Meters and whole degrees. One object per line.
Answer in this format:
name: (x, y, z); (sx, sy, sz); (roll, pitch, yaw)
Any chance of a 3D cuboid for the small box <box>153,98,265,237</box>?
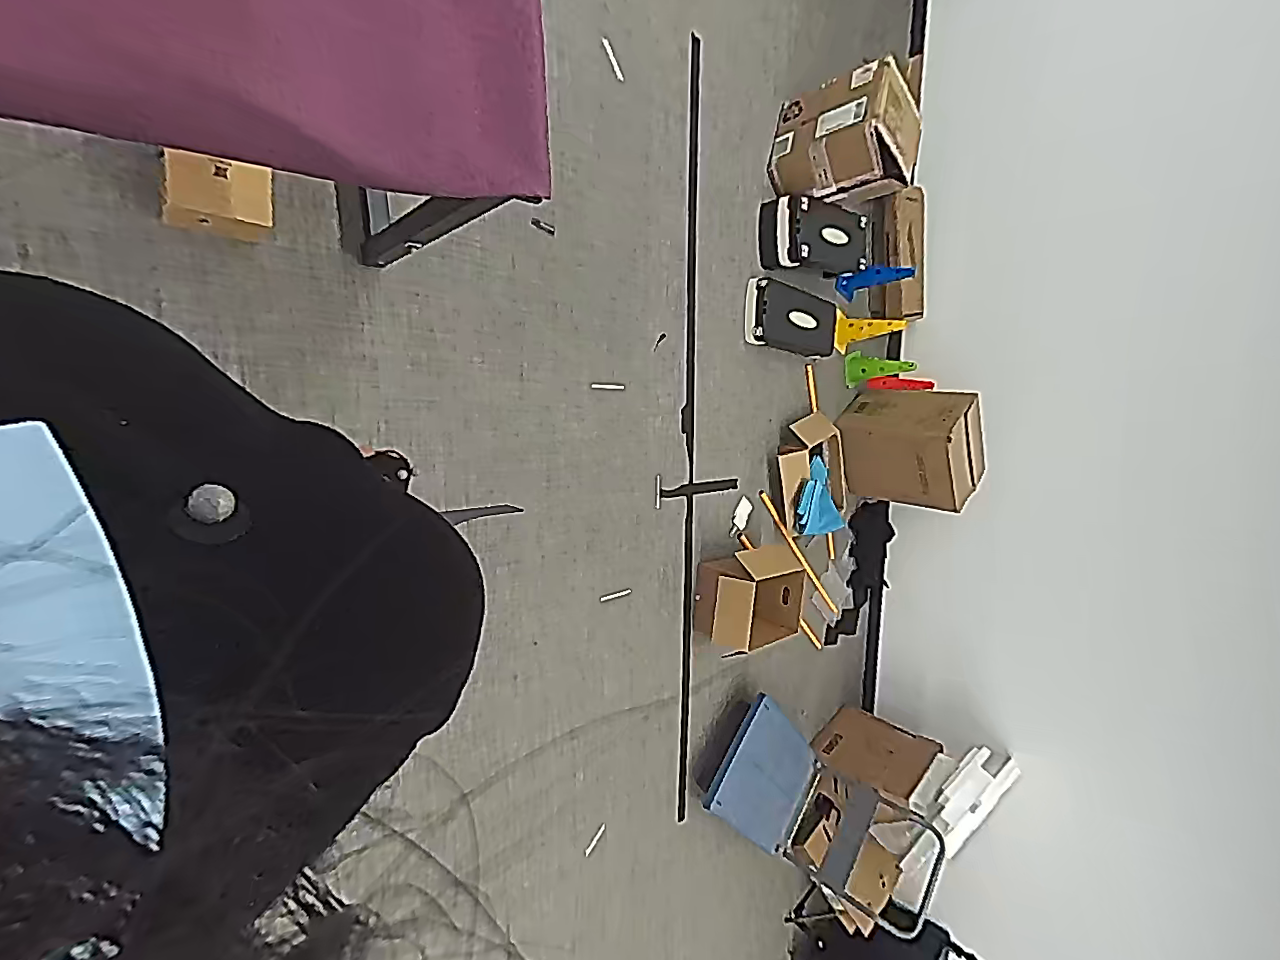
small box: (-0.870, -0.614, 1.093); (0.168, 0.176, 0.179); (-3, 98, -44)
